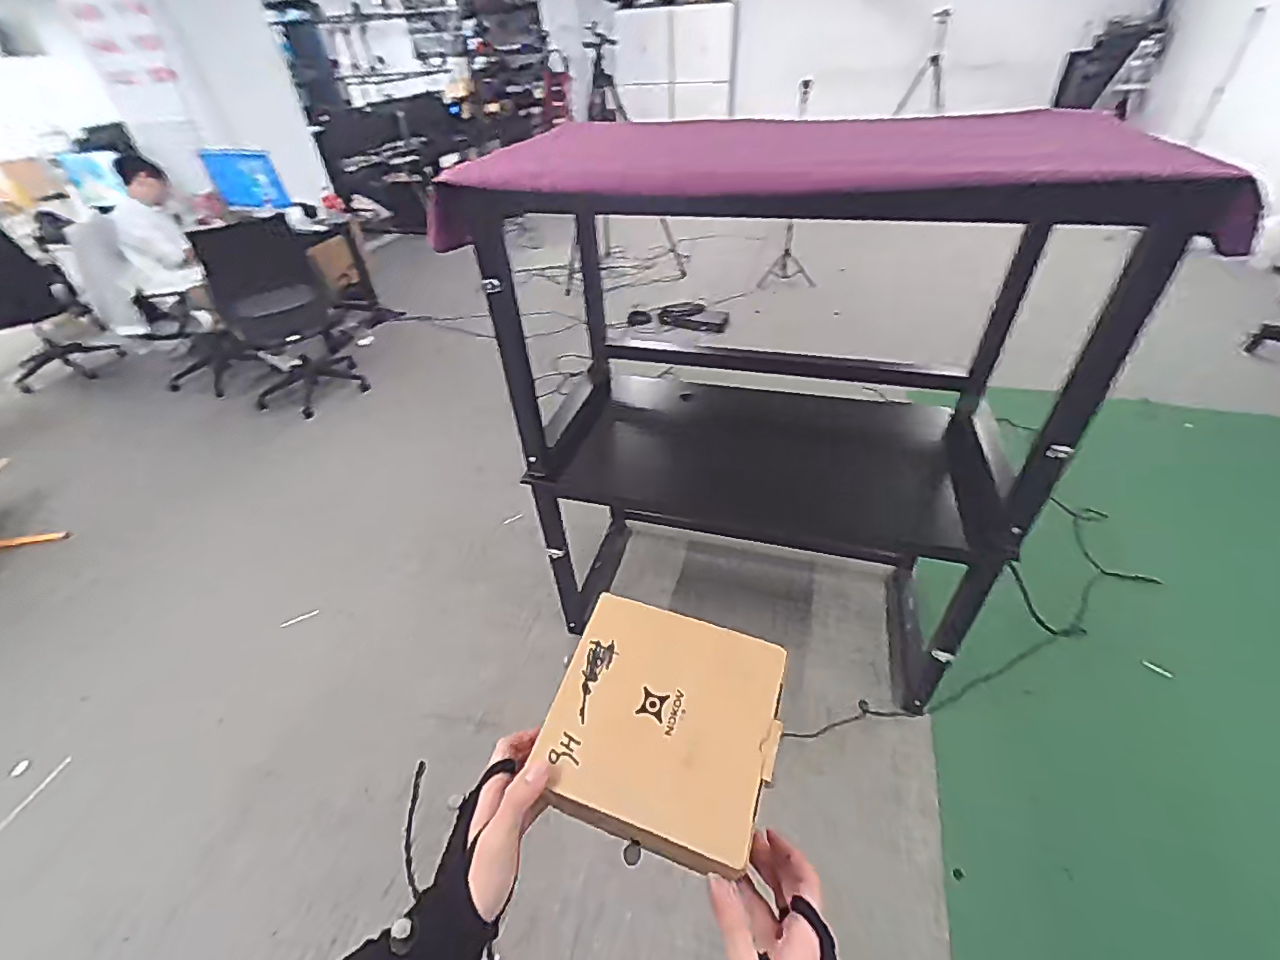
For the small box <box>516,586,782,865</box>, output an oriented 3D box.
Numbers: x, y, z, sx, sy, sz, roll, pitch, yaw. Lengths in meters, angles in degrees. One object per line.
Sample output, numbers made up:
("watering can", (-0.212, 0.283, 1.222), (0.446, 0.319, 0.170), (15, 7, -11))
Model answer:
("small box", (0.016, 0.229, 0.500), (0.179, 0.176, 0.168), (15, 53, 14))
